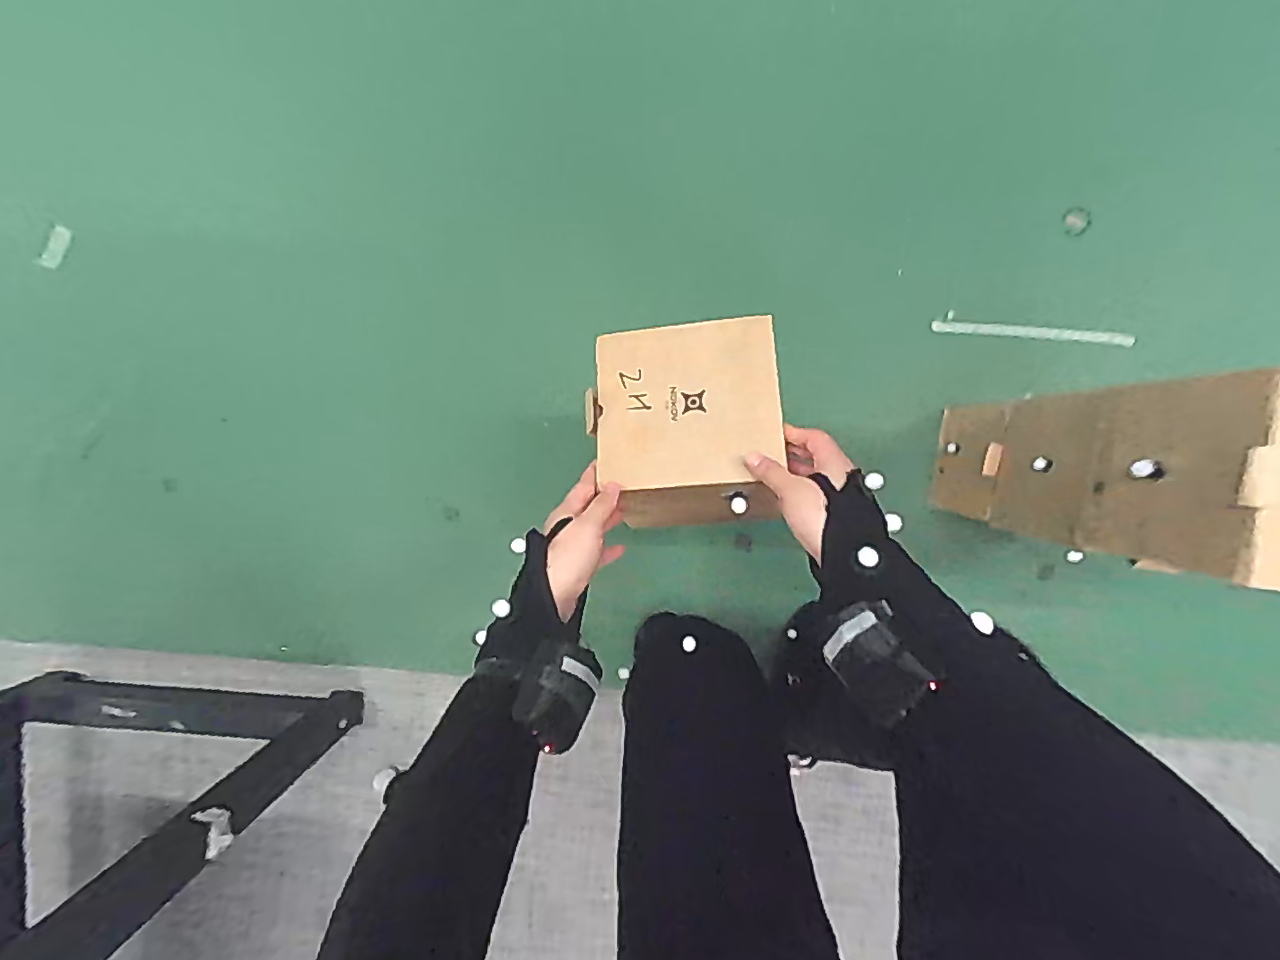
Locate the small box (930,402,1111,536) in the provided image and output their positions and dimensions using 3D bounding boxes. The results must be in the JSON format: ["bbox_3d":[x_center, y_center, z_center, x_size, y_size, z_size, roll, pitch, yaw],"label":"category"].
[{"bbox_3d":[0.570,-0.019,0.800,0.179,0.176,0.168,8,95,2],"label":"small box"}]

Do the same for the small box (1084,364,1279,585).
[{"bbox_3d":[0.545,0.002,0.473,0.179,0.176,0.168,7,94,3],"label":"small box"}]
